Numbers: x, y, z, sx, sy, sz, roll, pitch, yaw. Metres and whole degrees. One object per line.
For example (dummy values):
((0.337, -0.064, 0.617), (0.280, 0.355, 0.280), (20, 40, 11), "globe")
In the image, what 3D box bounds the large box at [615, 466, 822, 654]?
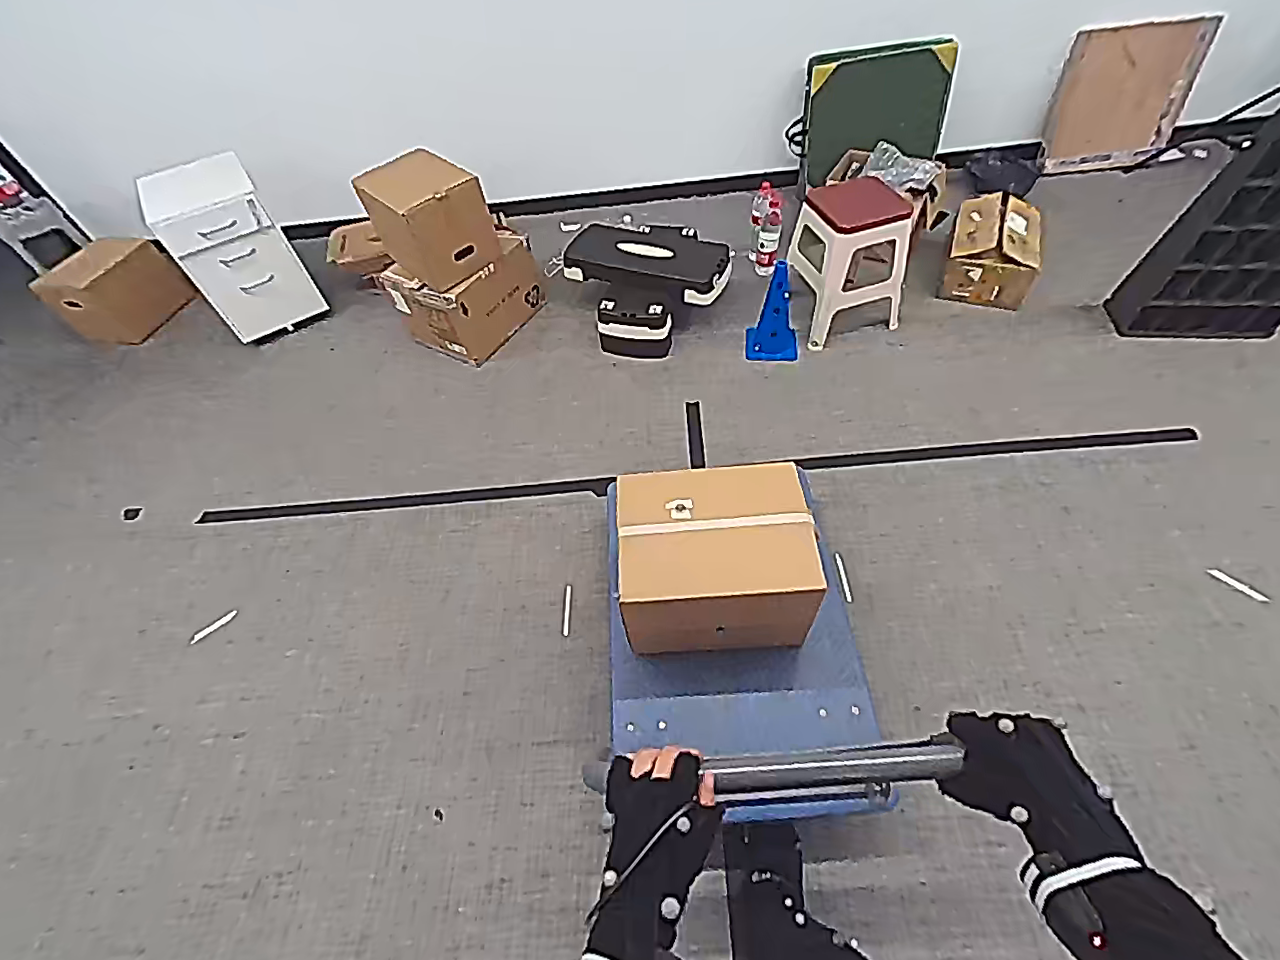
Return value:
((0.163, 0.196, 1.255), (0.408, 0.320, 0.320), (-5, 53, 3), "large box")
